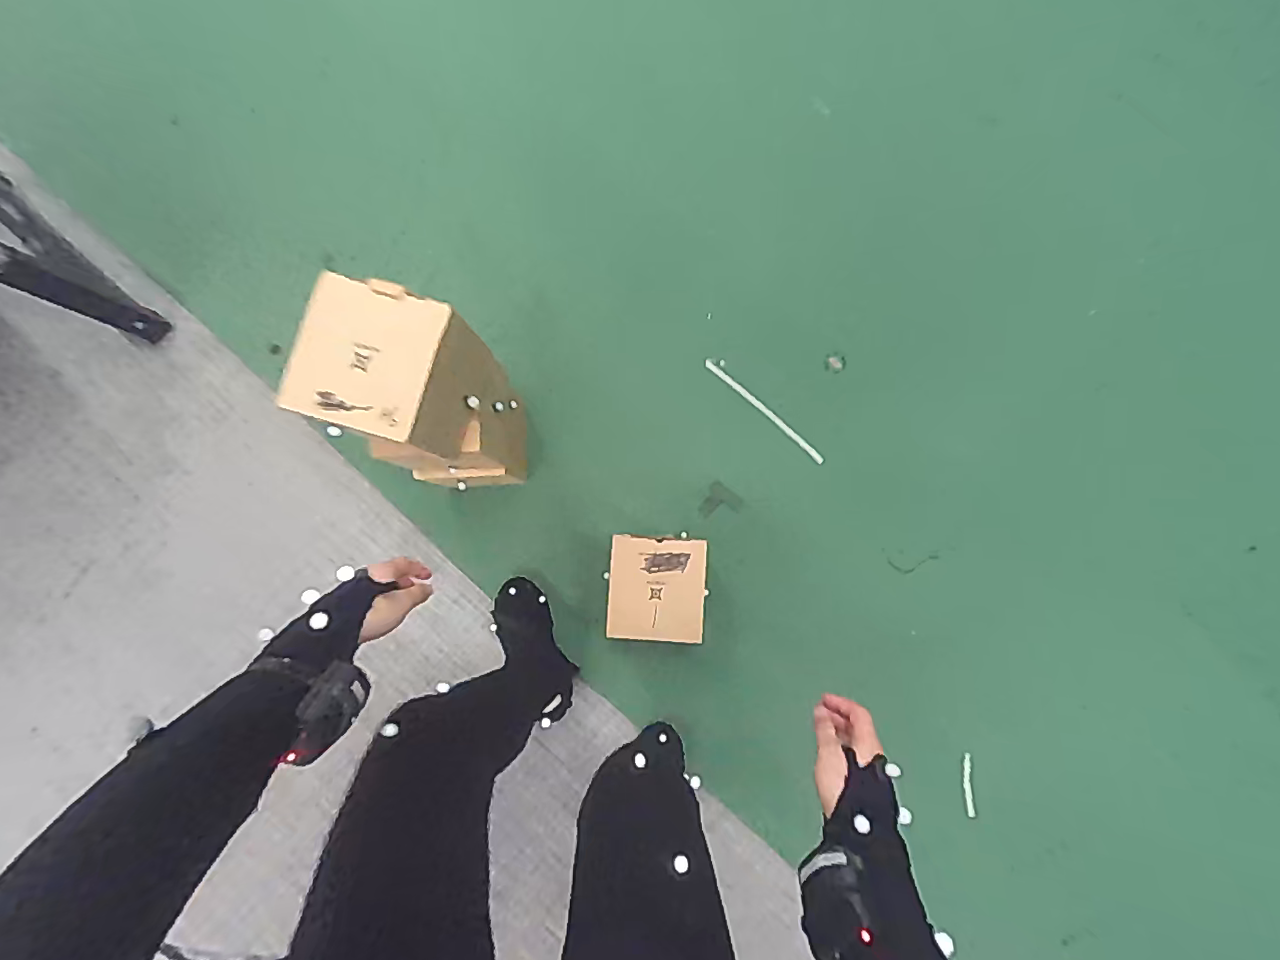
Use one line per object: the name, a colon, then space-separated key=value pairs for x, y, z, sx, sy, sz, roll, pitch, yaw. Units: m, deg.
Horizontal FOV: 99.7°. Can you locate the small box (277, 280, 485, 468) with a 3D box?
small box: x=-0.323 y=-0.128 z=0.716 sx=0.168 sy=0.176 sz=0.179 roll=16 pitch=84 yaw=3

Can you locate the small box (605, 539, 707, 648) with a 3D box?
small box: x=0.028 y=0.201 z=1.001 sx=0.168 sy=0.176 sz=0.179 roll=3 pitch=85 yaw=2

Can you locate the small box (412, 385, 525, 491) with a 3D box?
small box: x=-0.322 y=-0.072 z=1.041 sx=0.168 sy=0.176 sz=0.179 roll=-3 pitch=83 yaw=1
